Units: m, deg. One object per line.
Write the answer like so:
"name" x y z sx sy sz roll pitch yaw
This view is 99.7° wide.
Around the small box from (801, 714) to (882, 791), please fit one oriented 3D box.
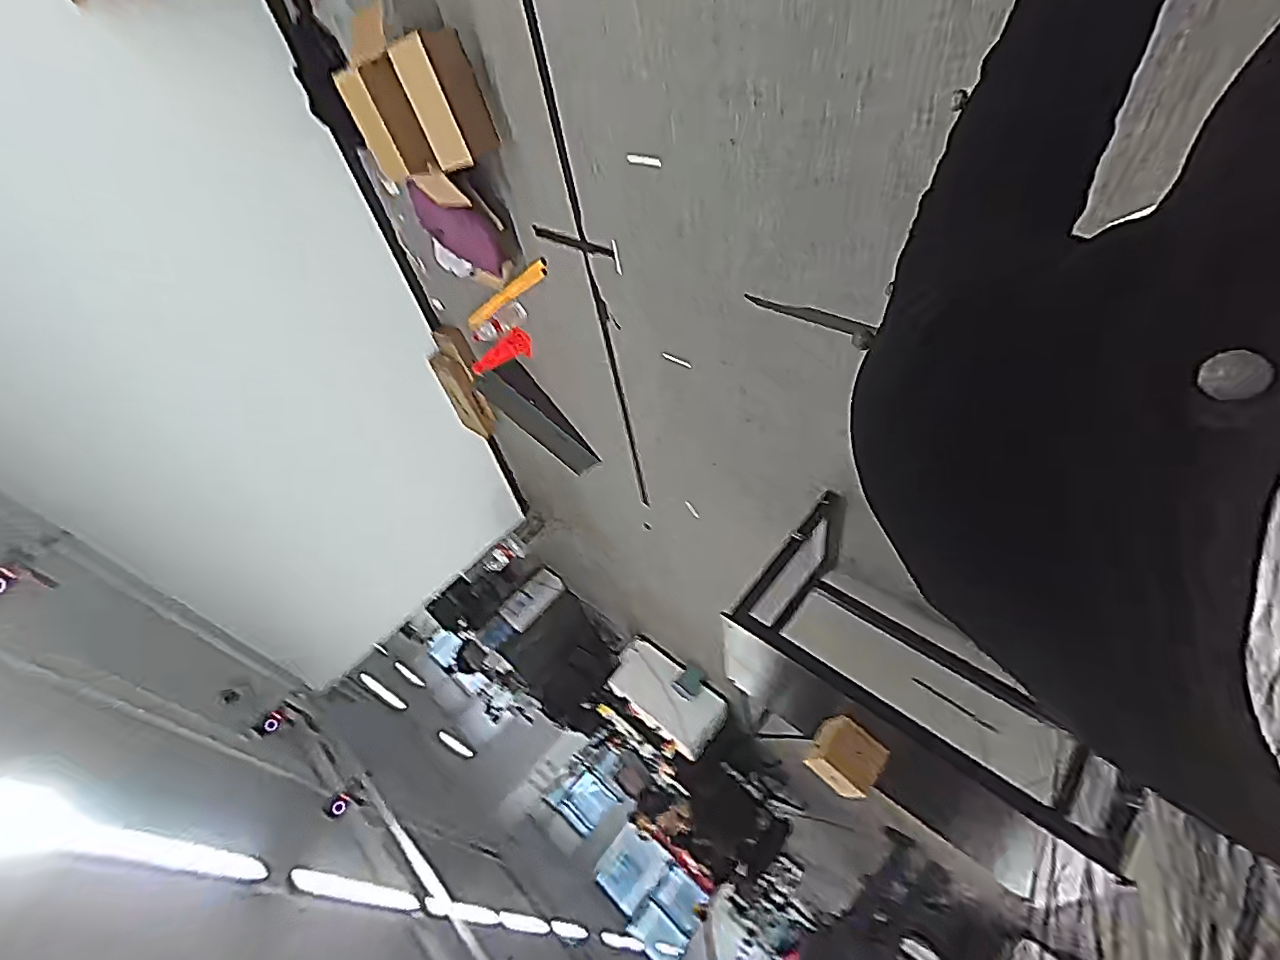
"small box" 0.673 0.904 1.800 0.168 0.176 0.179 39 155 16
